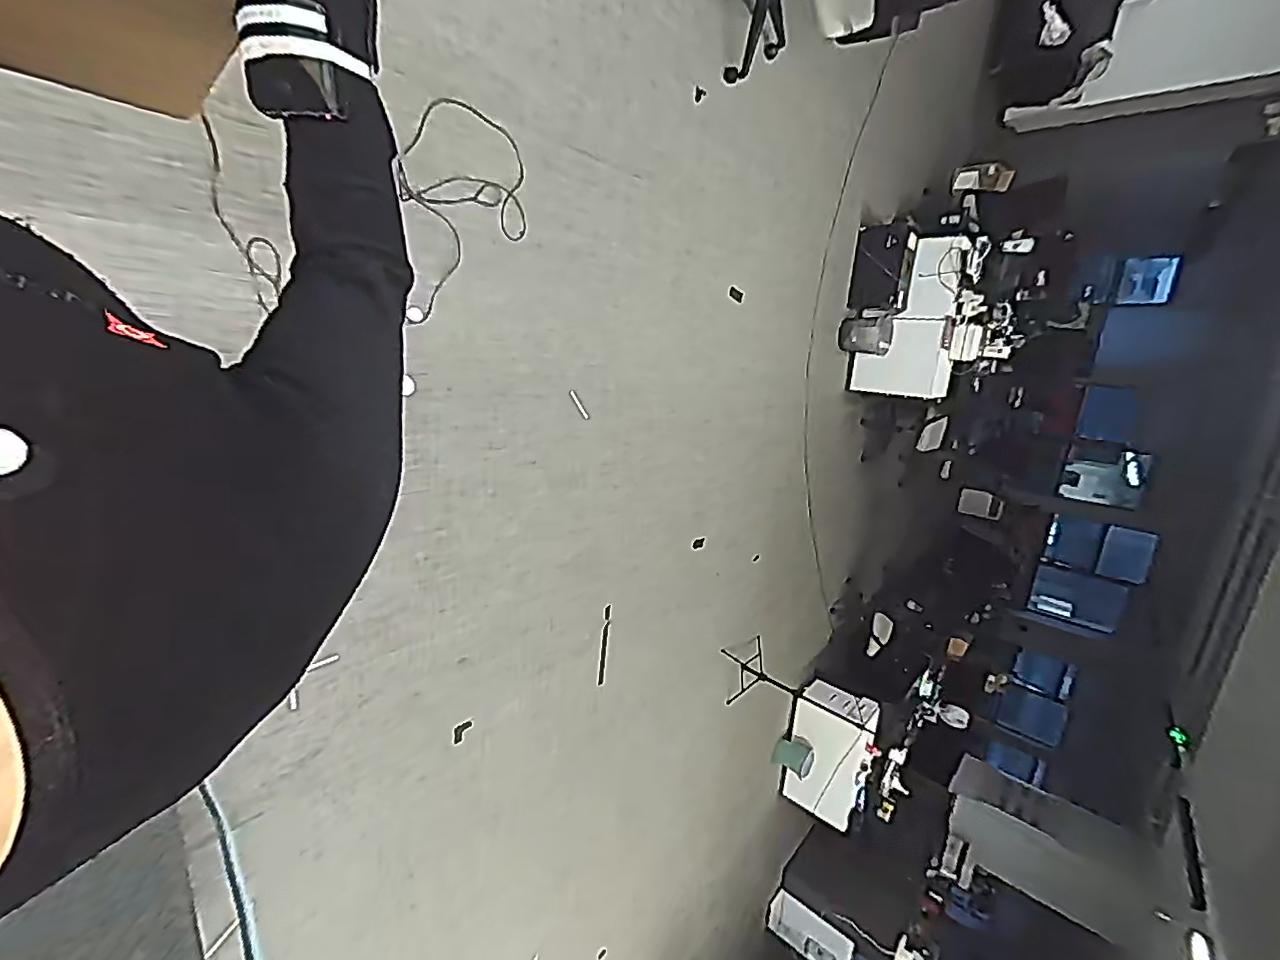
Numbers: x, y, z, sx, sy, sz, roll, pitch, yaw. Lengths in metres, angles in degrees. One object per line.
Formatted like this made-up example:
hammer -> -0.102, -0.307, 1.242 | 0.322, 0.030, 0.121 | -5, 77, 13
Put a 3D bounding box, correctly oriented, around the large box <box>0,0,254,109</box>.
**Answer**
large box -> -0.470, -0.464, 0.266 | 0.408, 0.320, 0.320 | -11, 107, -48
